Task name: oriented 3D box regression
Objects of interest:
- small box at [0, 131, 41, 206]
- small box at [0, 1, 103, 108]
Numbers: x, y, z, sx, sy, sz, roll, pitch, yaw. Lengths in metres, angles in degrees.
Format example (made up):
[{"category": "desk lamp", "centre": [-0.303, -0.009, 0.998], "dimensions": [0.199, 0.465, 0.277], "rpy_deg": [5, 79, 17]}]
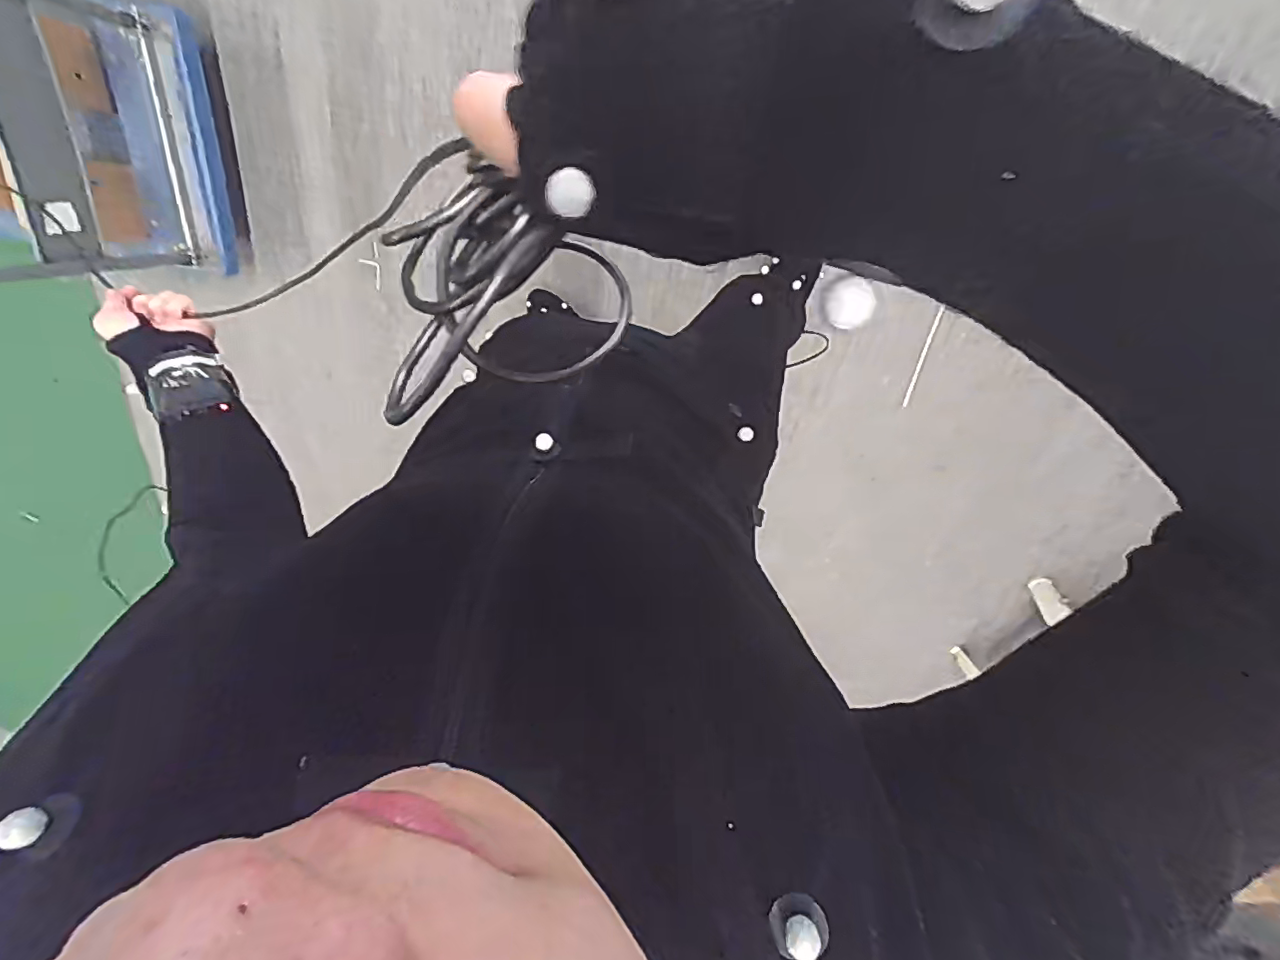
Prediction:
[{"category": "small box", "centre": [-1.647, -0.773, 1.326], "dimensions": [0.179, 0.176, 0.168], "rpy_deg": [9, 117, 6]}, {"category": "small box", "centre": [-1.363, -0.940, 1.191], "dimensions": [0.179, 0.176, 0.168], "rpy_deg": [12, 118, 3]}]
